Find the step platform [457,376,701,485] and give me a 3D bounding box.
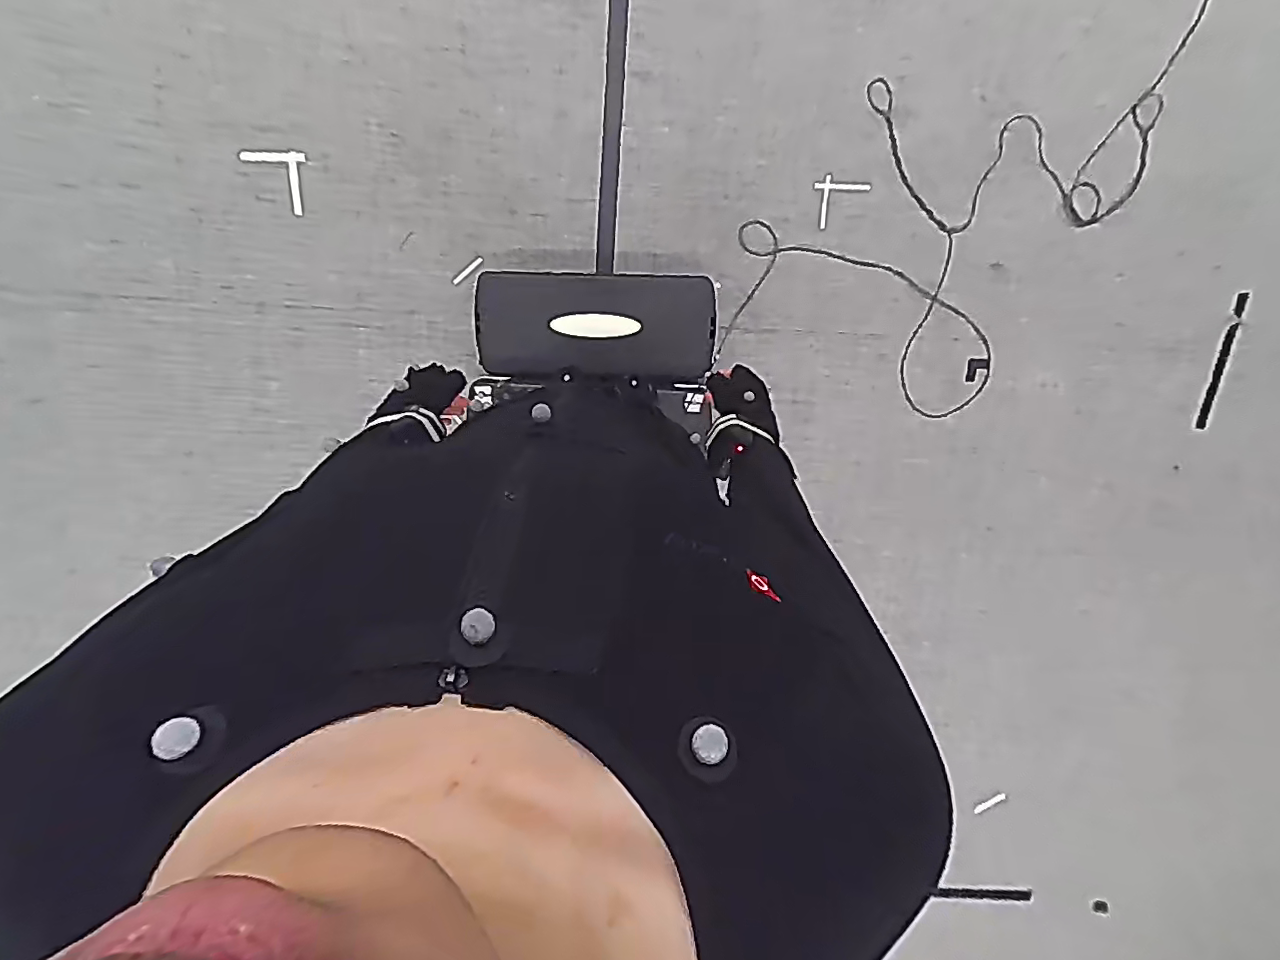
[{"bbox_3d":[-0.167,-0.144,1.551,0.684,0.204,0.286,2,103,0],"label":"step platform"}]
